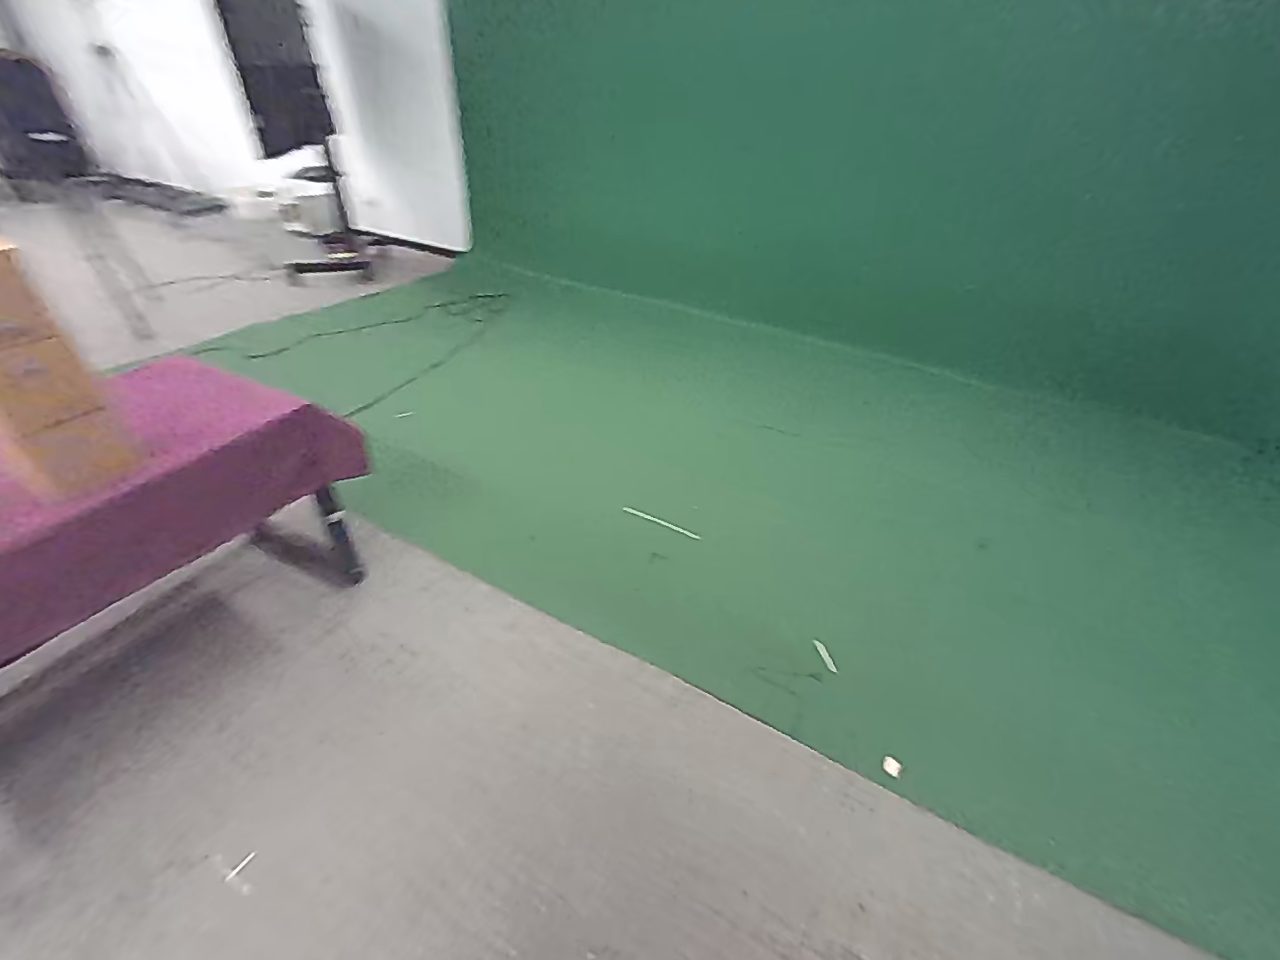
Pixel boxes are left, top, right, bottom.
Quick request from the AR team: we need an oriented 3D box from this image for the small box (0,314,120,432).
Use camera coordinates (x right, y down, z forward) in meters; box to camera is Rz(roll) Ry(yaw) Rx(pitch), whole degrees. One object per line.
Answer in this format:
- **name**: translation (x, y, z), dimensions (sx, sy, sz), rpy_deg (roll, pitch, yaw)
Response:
- **small box**: translation (-1.252, -0.225, 1.130), dimensions (0.168, 0.176, 0.179), rpy_deg (20, 41, 20)
